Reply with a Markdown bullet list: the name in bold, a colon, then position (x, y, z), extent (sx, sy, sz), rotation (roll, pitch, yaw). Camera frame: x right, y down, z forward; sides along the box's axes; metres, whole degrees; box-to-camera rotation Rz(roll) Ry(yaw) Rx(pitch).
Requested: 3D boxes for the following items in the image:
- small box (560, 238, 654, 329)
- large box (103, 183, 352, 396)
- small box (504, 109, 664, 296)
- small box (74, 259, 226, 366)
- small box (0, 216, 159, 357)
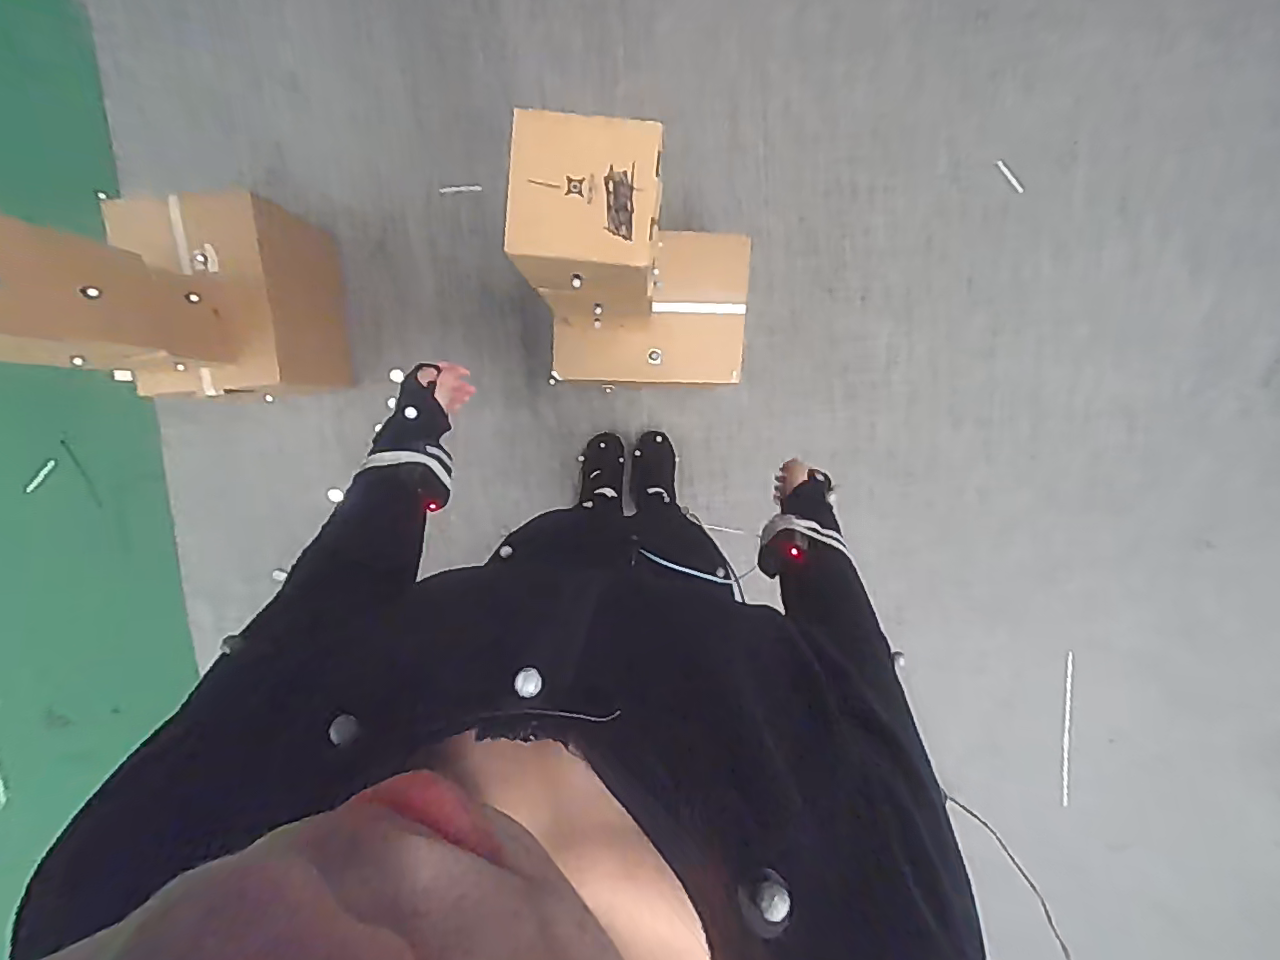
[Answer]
- **small box**: position (-0.059, -0.394, 1.043), extent (0.168, 0.176, 0.179), rotation (2, 96, -1)
- **large box**: position (-0.936, -0.419, 1.280), extent (0.320, 0.320, 0.408), rotation (-4, 97, 0)
- **small box**: position (-0.067, -0.350, 0.717), extent (0.179, 0.176, 0.168), rotation (7, 96, 0)
- **small box**: position (-0.948, -0.316, 1.047), extent (0.179, 0.176, 0.168), rotation (-5, 97, 1)
- **small box**: position (-0.947, -0.302, 0.884), extent (0.168, 0.176, 0.179), rotation (-9, 96, 1)
